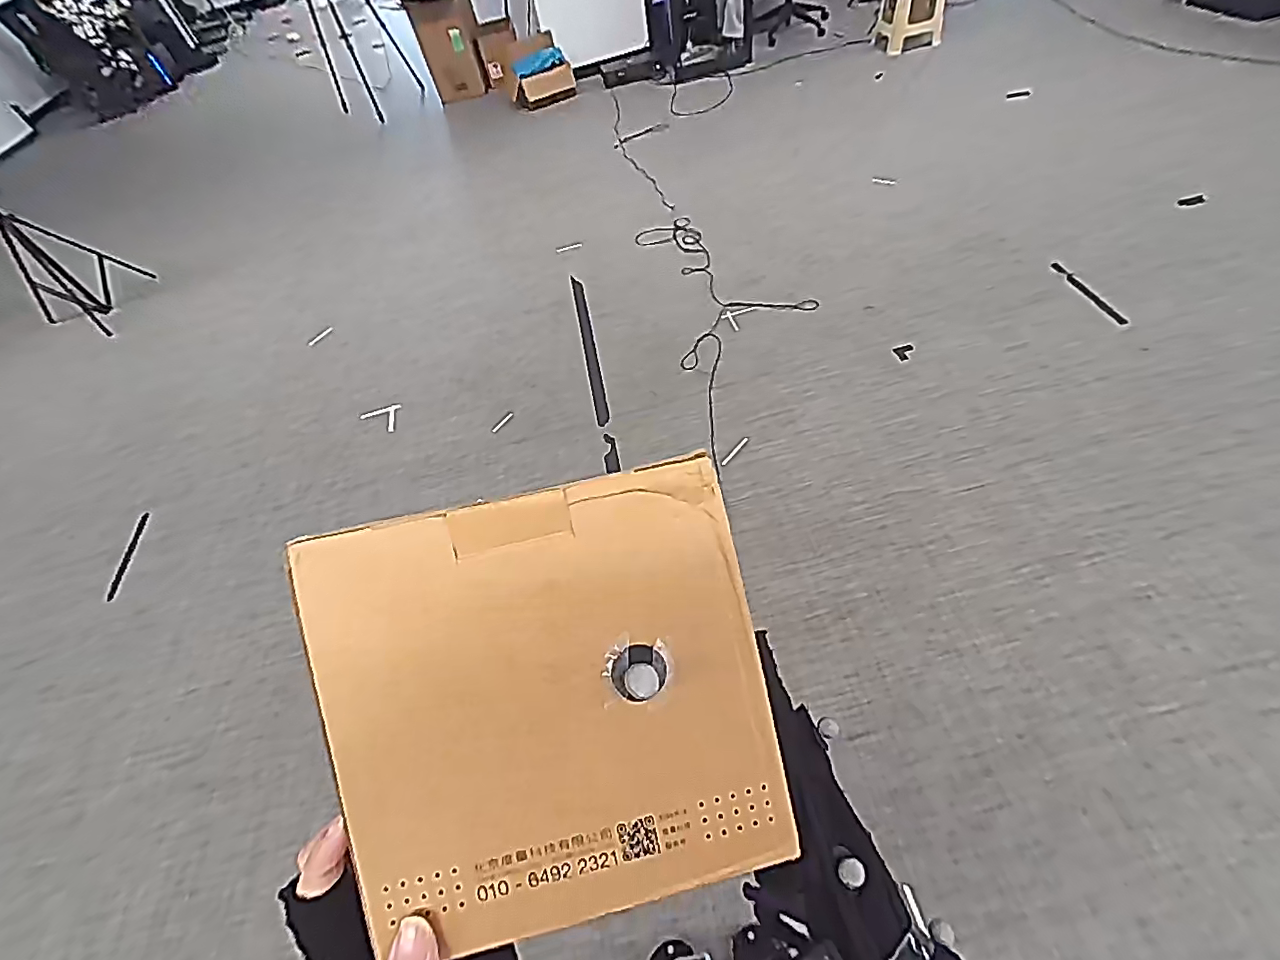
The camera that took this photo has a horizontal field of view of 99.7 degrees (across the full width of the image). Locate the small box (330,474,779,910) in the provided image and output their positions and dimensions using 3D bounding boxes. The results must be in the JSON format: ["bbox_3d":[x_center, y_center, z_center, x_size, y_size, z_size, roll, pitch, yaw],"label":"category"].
[{"bbox_3d":[-0.036,0.097,0.308,0.168,0.179,0.176,-12,91,-4],"label":"small box"}]
